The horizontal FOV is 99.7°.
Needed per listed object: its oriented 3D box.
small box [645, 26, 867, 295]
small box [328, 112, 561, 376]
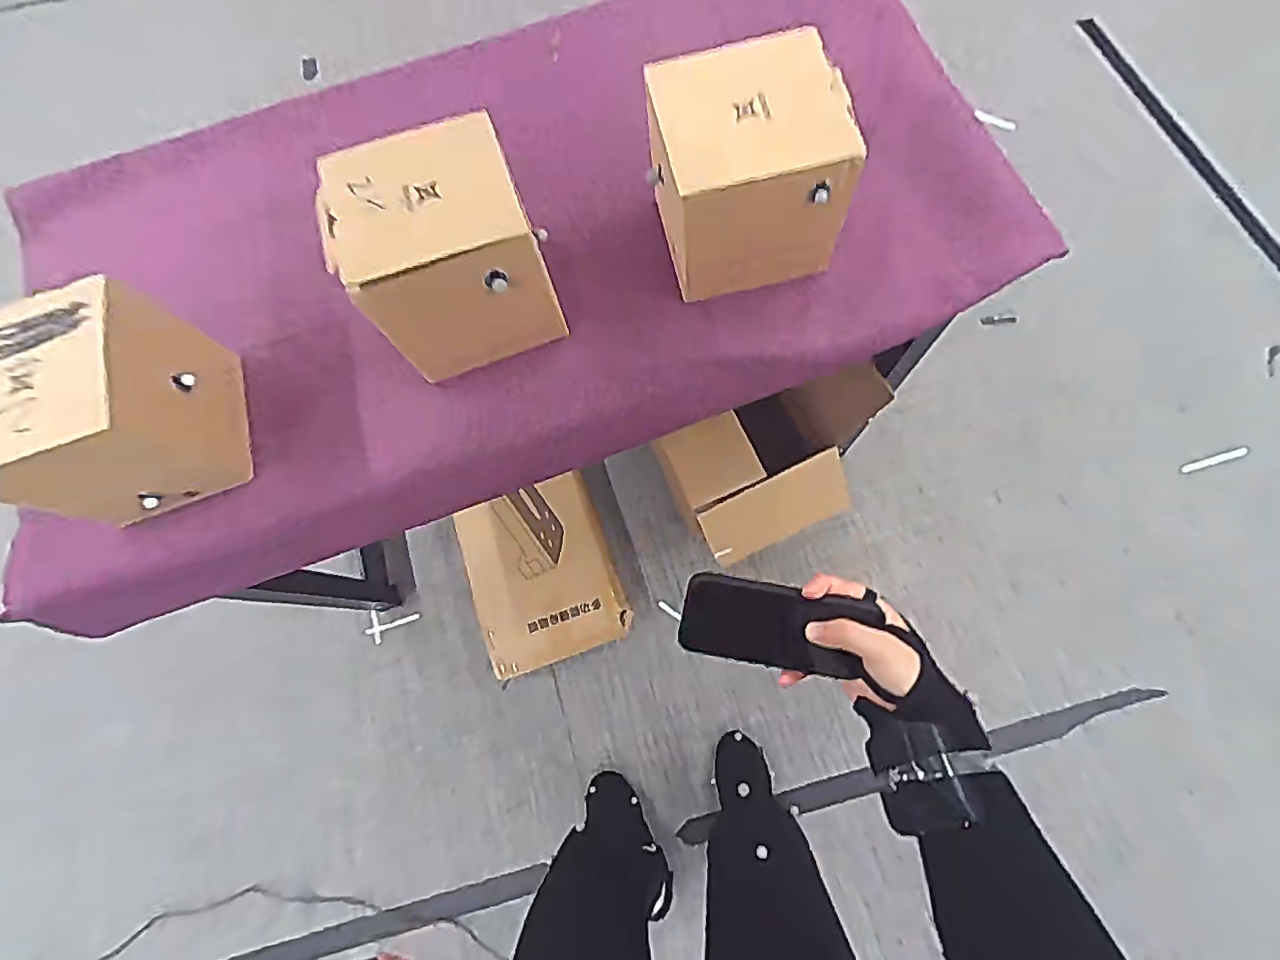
[{"bbox_3d":[0.112,-0.327,0.584,0.179,0.176,0.168,-13,73,1],"label":"small box"},{"bbox_3d":[-0.195,-0.241,0.586,0.179,0.176,0.168,-20,70,-1],"label":"small box"}]
